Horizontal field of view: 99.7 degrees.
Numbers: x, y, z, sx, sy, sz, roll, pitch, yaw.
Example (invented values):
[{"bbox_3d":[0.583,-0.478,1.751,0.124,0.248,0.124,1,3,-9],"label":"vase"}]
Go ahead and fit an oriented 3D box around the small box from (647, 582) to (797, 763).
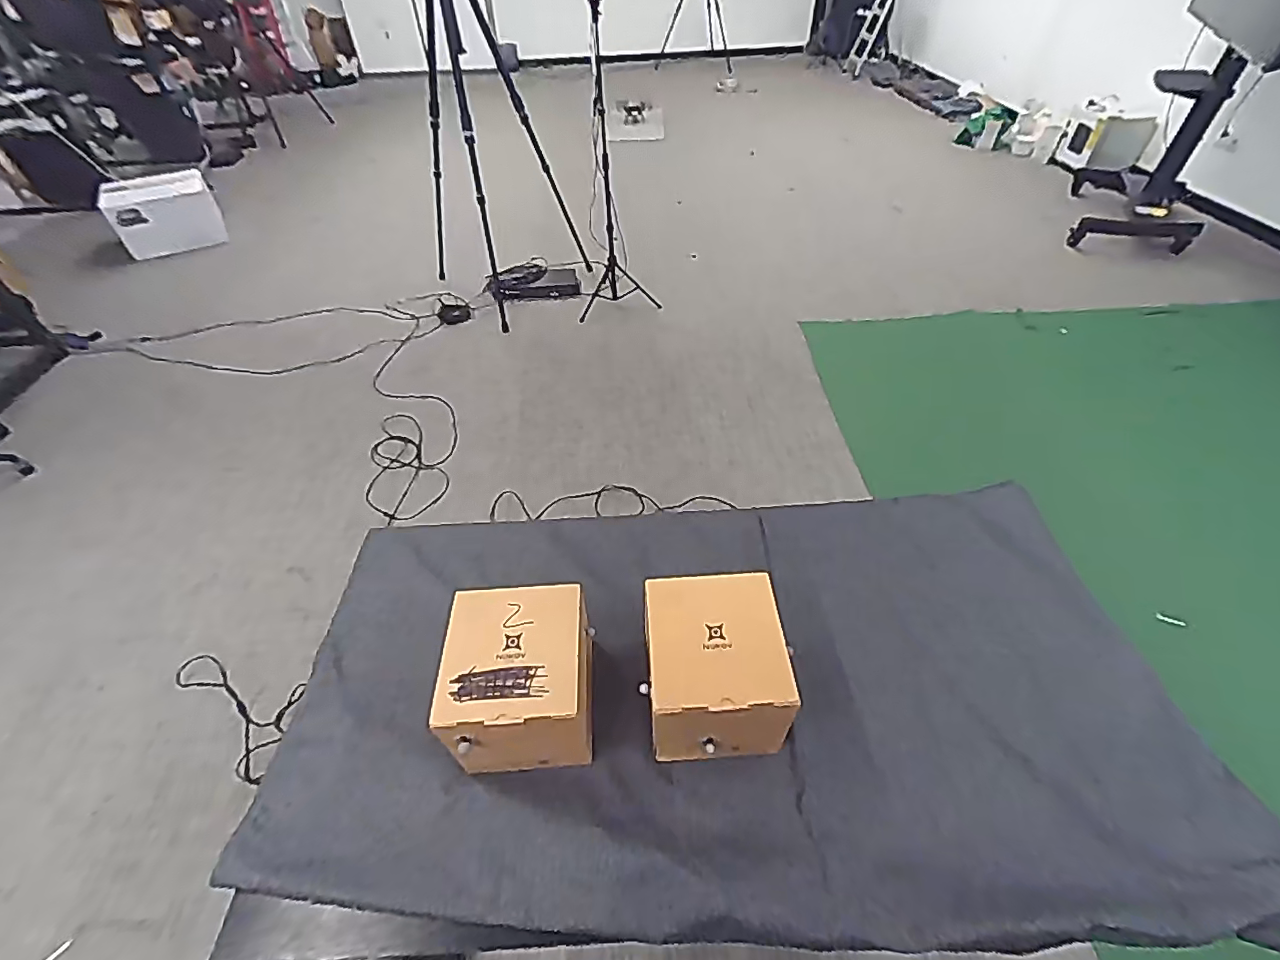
[{"bbox_3d":[0.095,0.258,0.727,0.168,0.176,0.179,-3,47,-1],"label":"small box"}]
